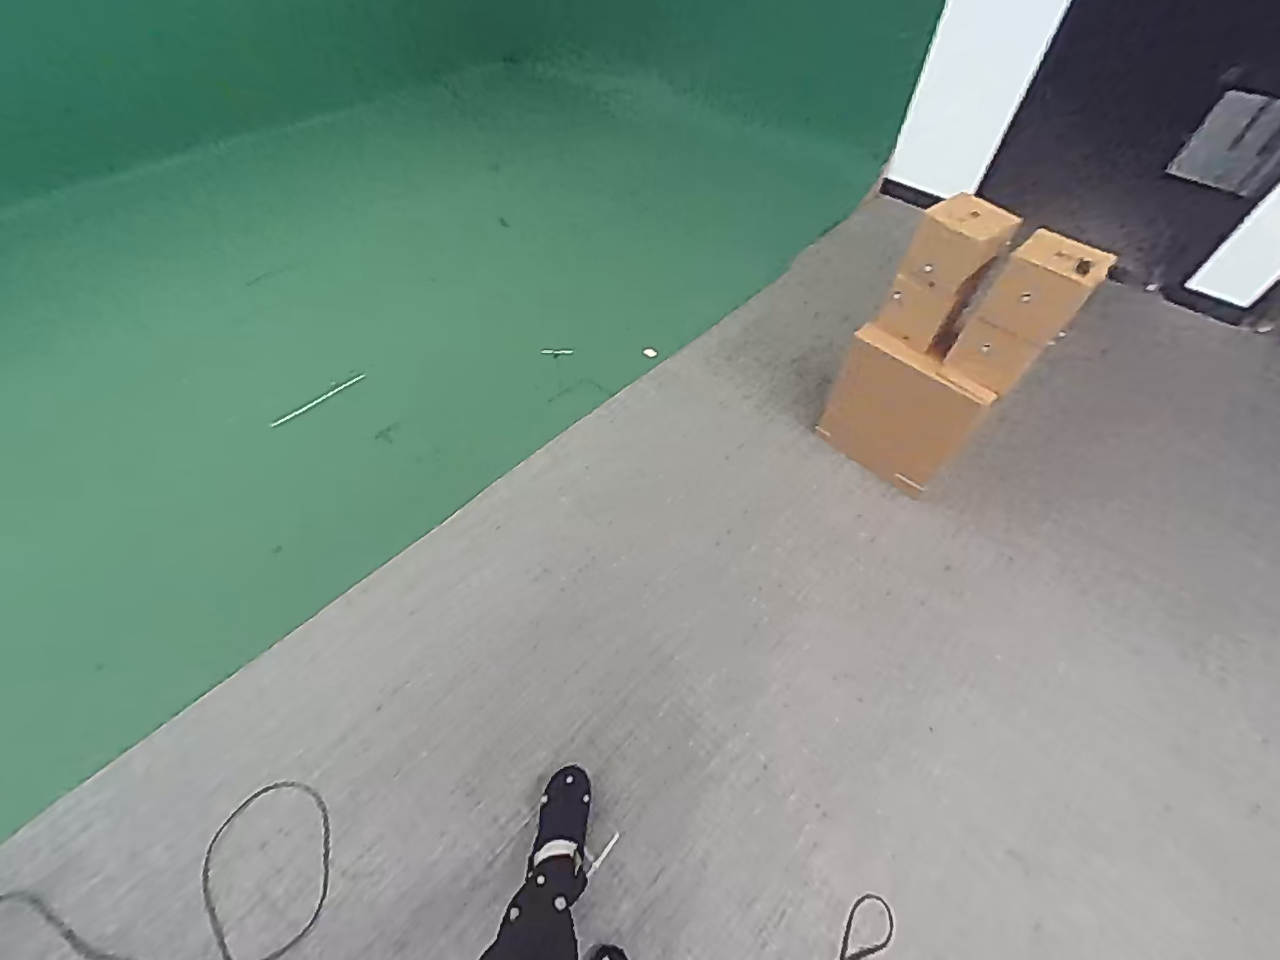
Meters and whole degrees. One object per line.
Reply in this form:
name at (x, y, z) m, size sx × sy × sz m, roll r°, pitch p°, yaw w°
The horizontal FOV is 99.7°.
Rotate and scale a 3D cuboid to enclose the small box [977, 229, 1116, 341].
small box at (0.952, -0.454, 1.279) m, size 0.168 × 0.176 × 0.179 m, roll -39°, pitch 62°, yaw -24°
